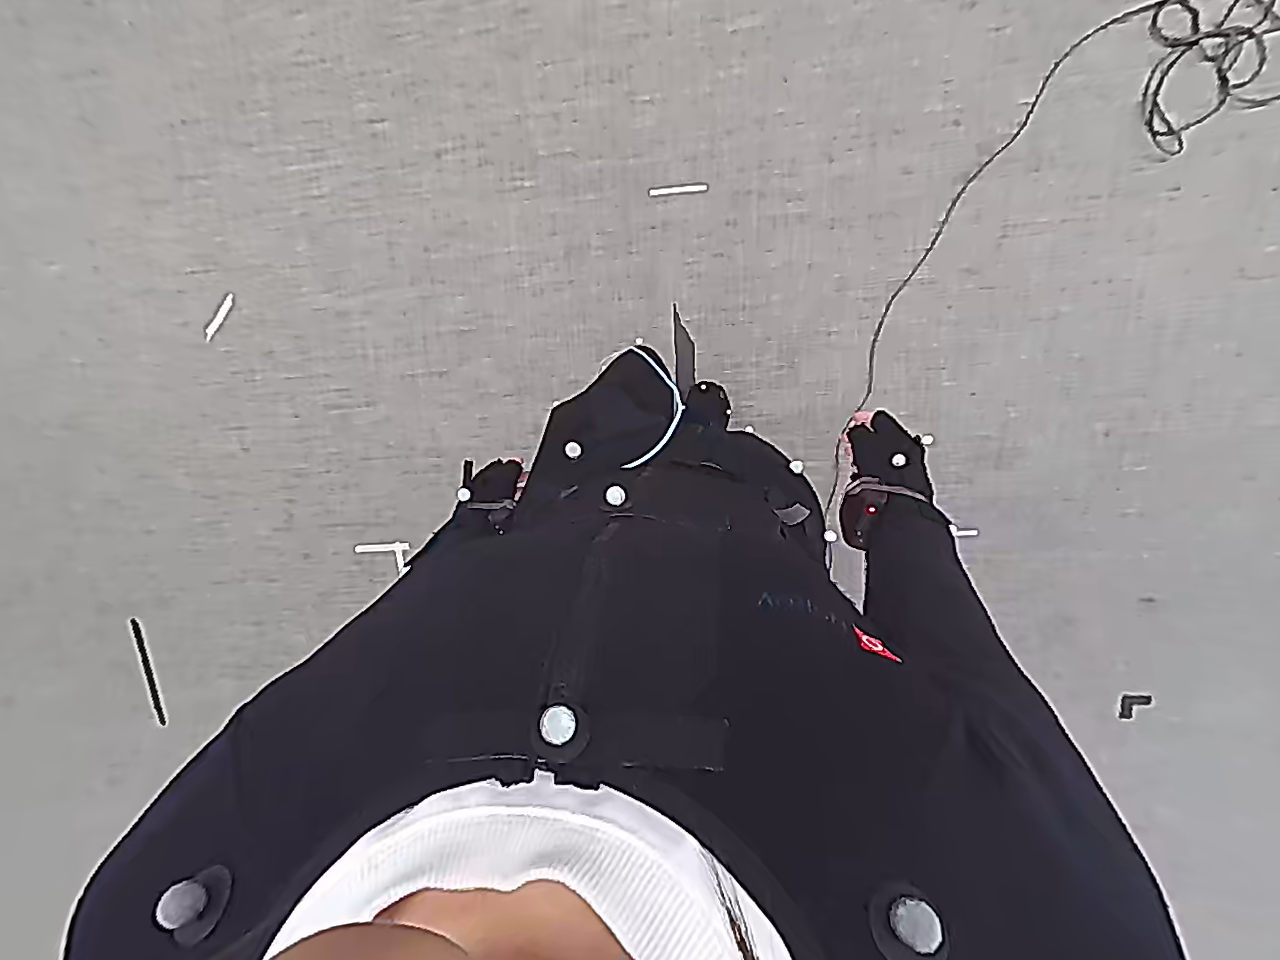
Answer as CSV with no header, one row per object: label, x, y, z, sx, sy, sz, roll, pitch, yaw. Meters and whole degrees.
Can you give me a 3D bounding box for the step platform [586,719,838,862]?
step platform,0.192,0.860,1.513,0.684,0.204,0.286,-3,101,10
